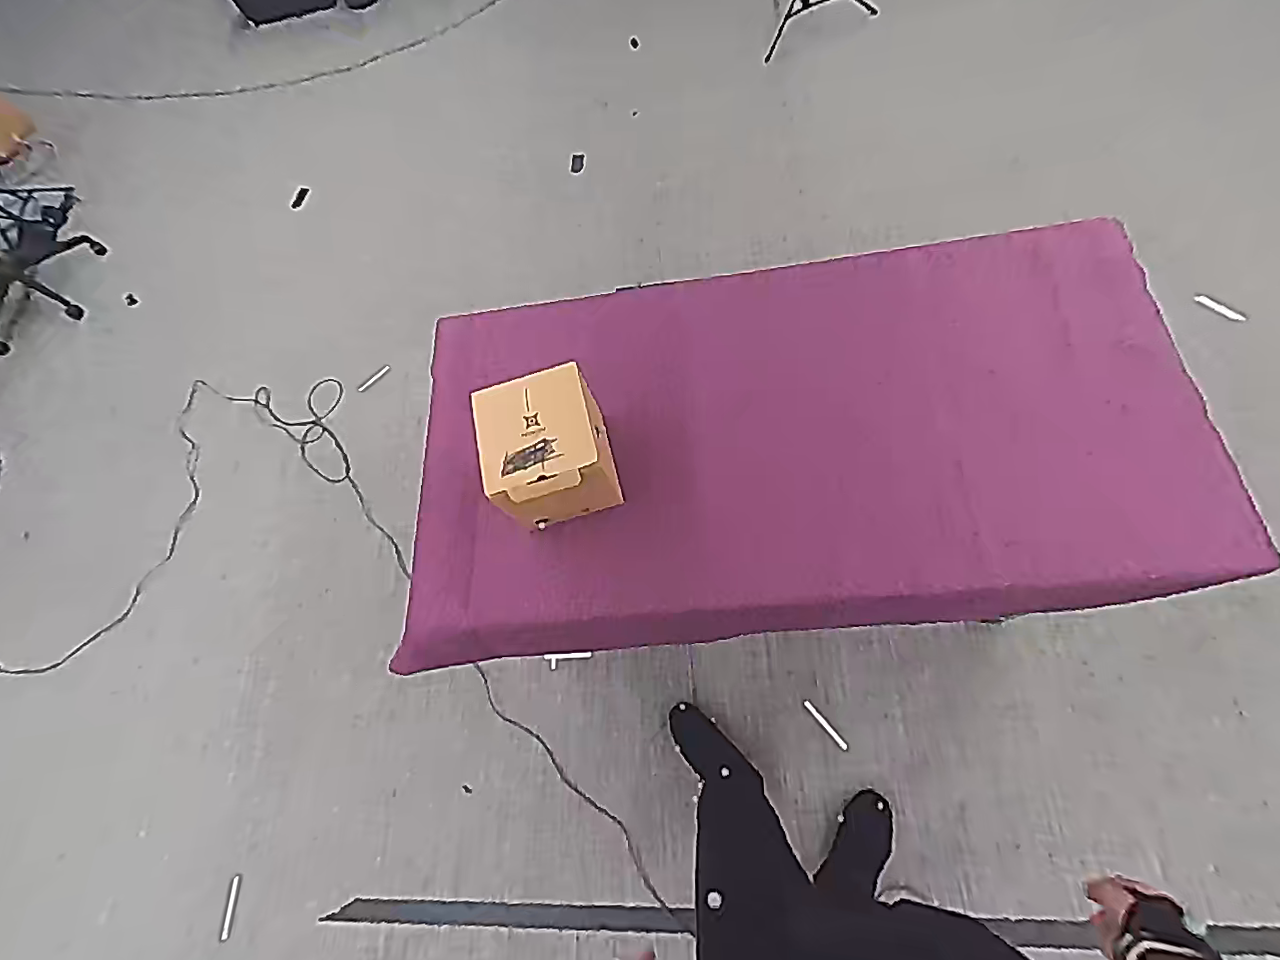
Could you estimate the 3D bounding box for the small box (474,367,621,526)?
[{"bbox_3d":[-0.138,-0.040,0.844,0.168,0.176,0.179,-17,66,3],"label":"small box"}]
